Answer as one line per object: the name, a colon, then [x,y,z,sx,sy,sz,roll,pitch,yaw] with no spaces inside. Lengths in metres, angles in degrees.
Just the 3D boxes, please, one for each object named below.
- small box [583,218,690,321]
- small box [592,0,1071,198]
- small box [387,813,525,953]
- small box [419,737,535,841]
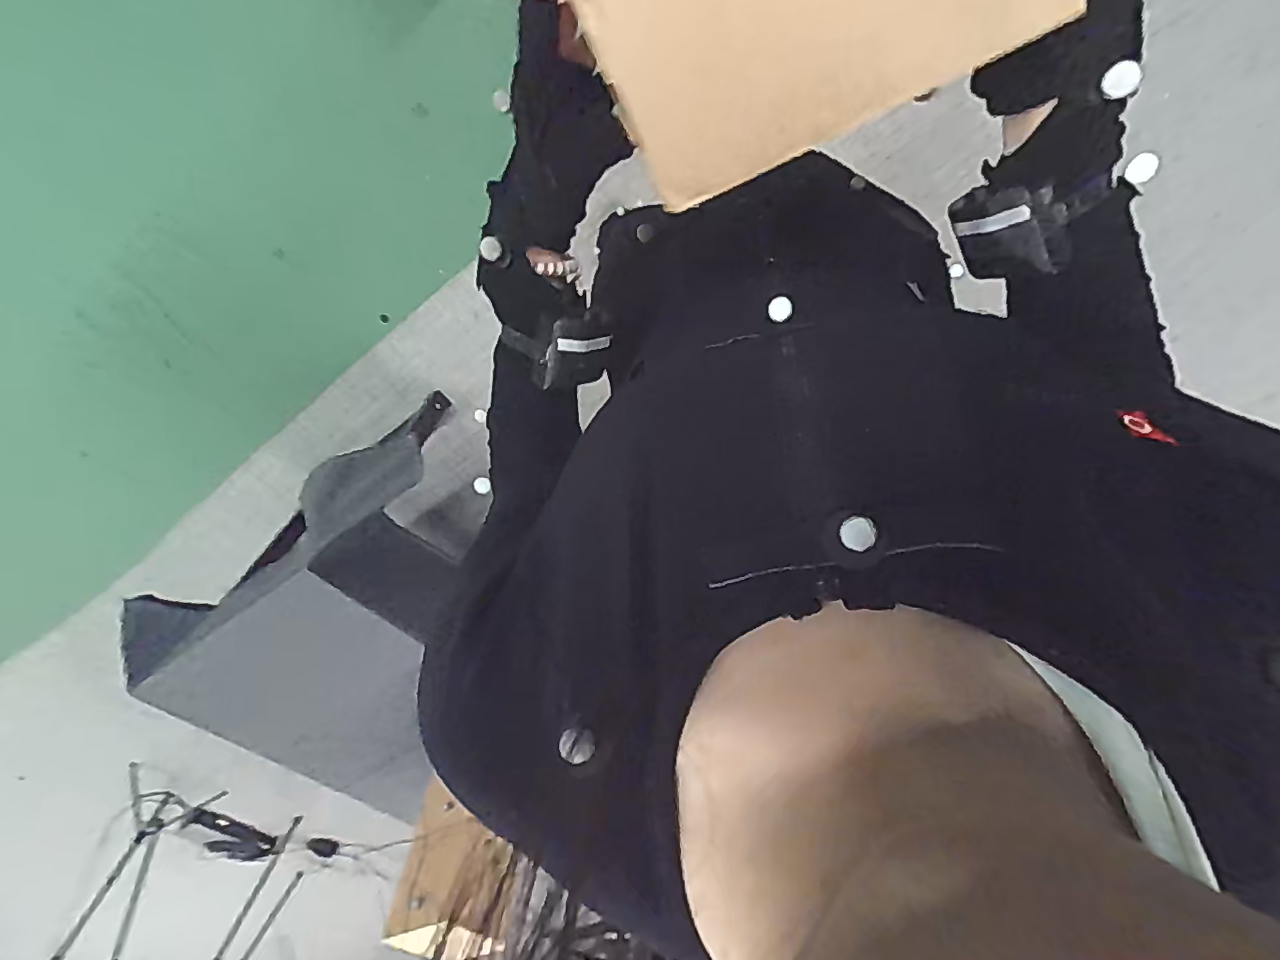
small box: [-0.012,-0.492,1.262,0.179,0.176,0.168,34,119,6]
small box: [0.062,-0.273,0.243,0.179,0.176,0.168,-17,135,21]
small box: [-0.354,0.798,1.076,0.179,0.176,0.168,-31,119,20]
small box: [-0.352,0.706,1.210,0.179,0.176,0.168,-31,119,21]
